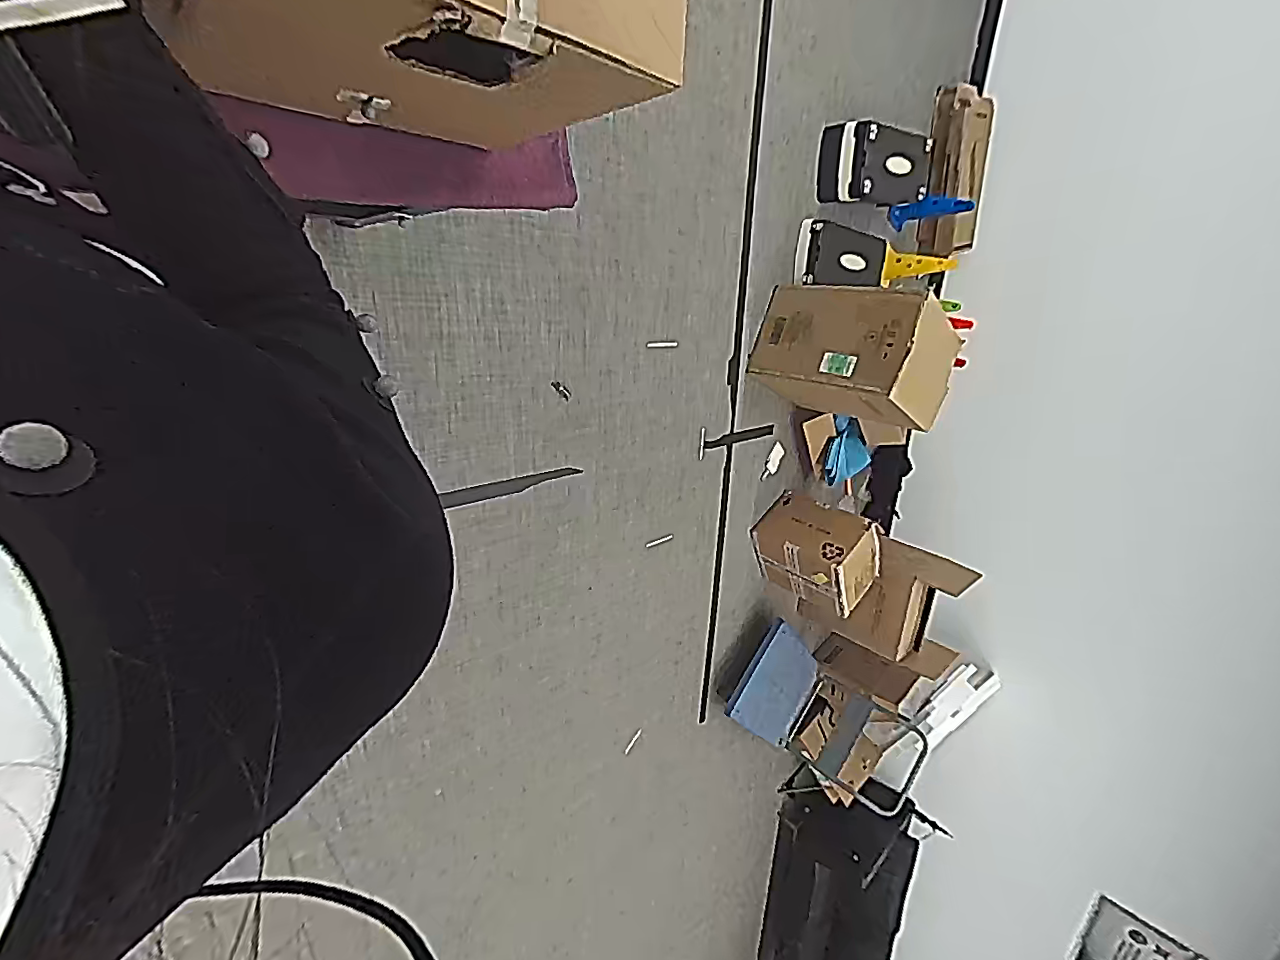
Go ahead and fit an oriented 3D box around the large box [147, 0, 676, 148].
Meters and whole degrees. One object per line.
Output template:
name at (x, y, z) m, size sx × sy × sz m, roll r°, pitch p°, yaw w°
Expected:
large box at (-0.183, -0.509, 0.381) m, size 0.320 × 0.320 × 0.408 m, roll -16°, pitch 115°, yaw -41°
